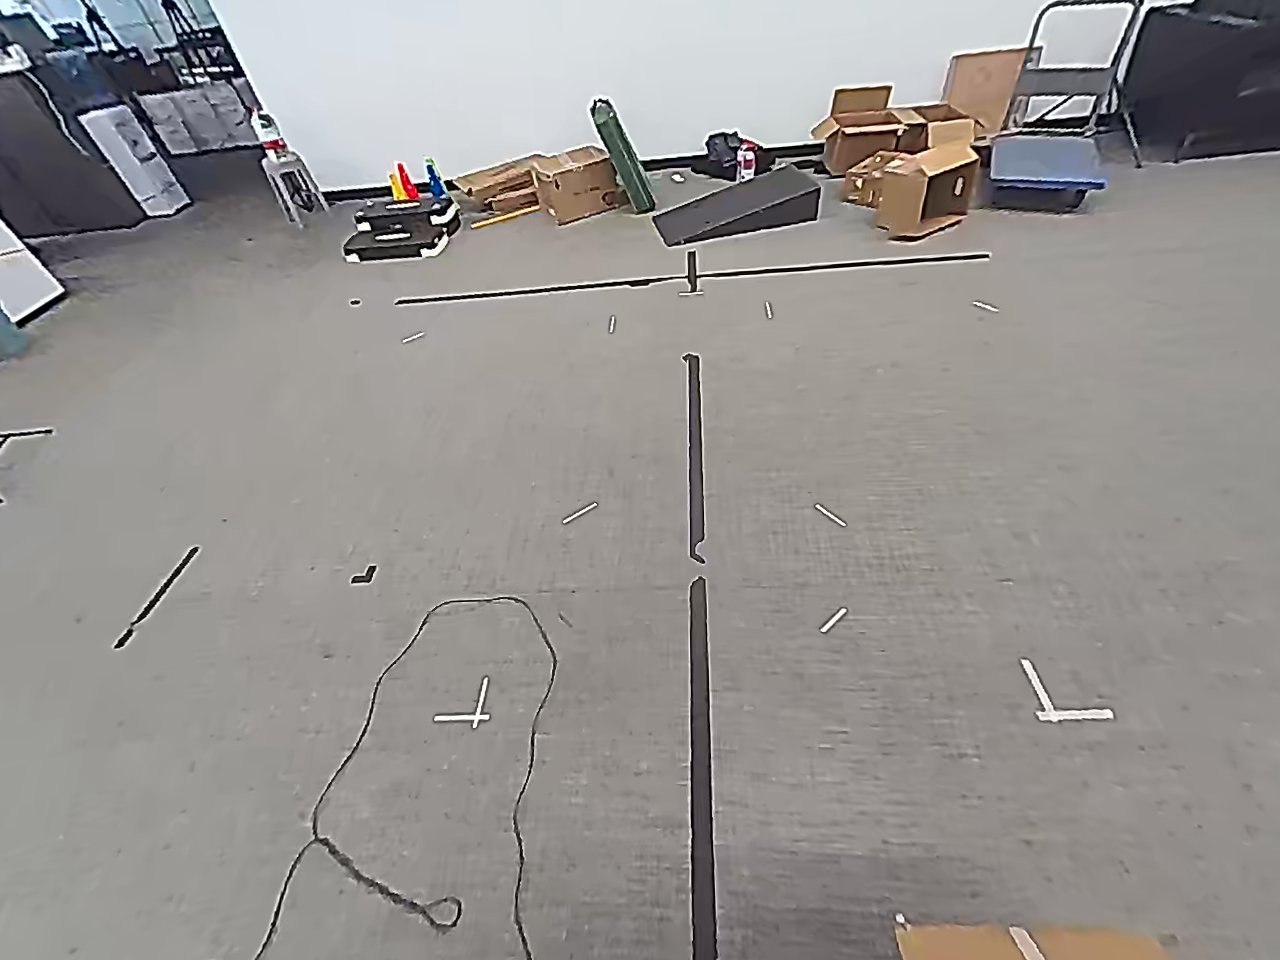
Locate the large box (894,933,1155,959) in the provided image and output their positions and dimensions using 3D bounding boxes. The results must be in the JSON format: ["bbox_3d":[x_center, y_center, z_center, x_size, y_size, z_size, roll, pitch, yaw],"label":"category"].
[{"bbox_3d":[0.486,0.761,0.530,0.320,0.408,0.320,-7,84,12],"label":"large box"}]
